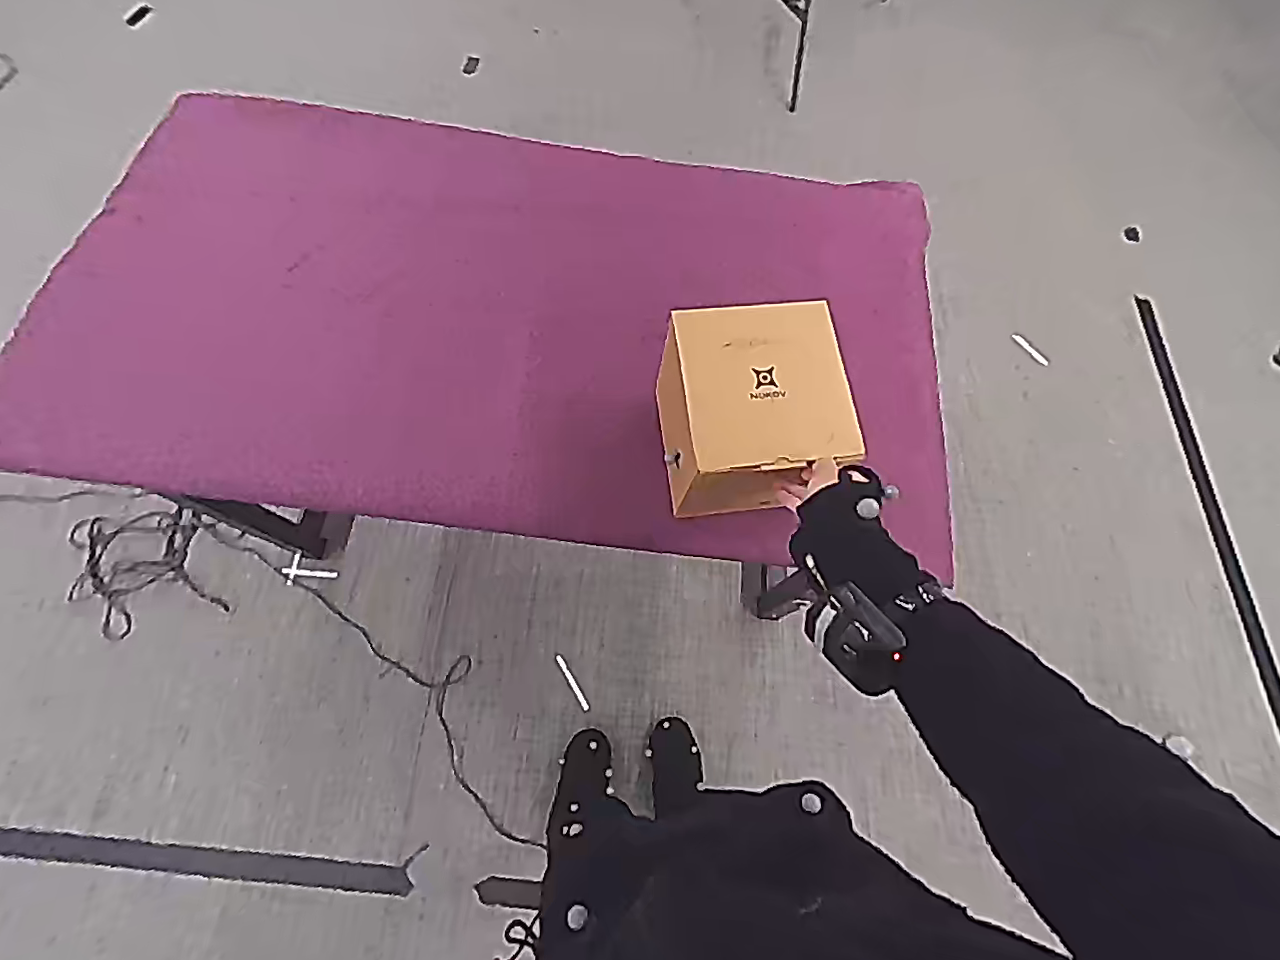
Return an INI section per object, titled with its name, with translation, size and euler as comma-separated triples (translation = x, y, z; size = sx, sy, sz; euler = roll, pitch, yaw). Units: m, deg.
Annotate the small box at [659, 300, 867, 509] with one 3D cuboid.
[small box]
translation = 0.118, -0.072, 0.598
size = 0.168, 0.176, 0.179
euler = -6, 72, -7
